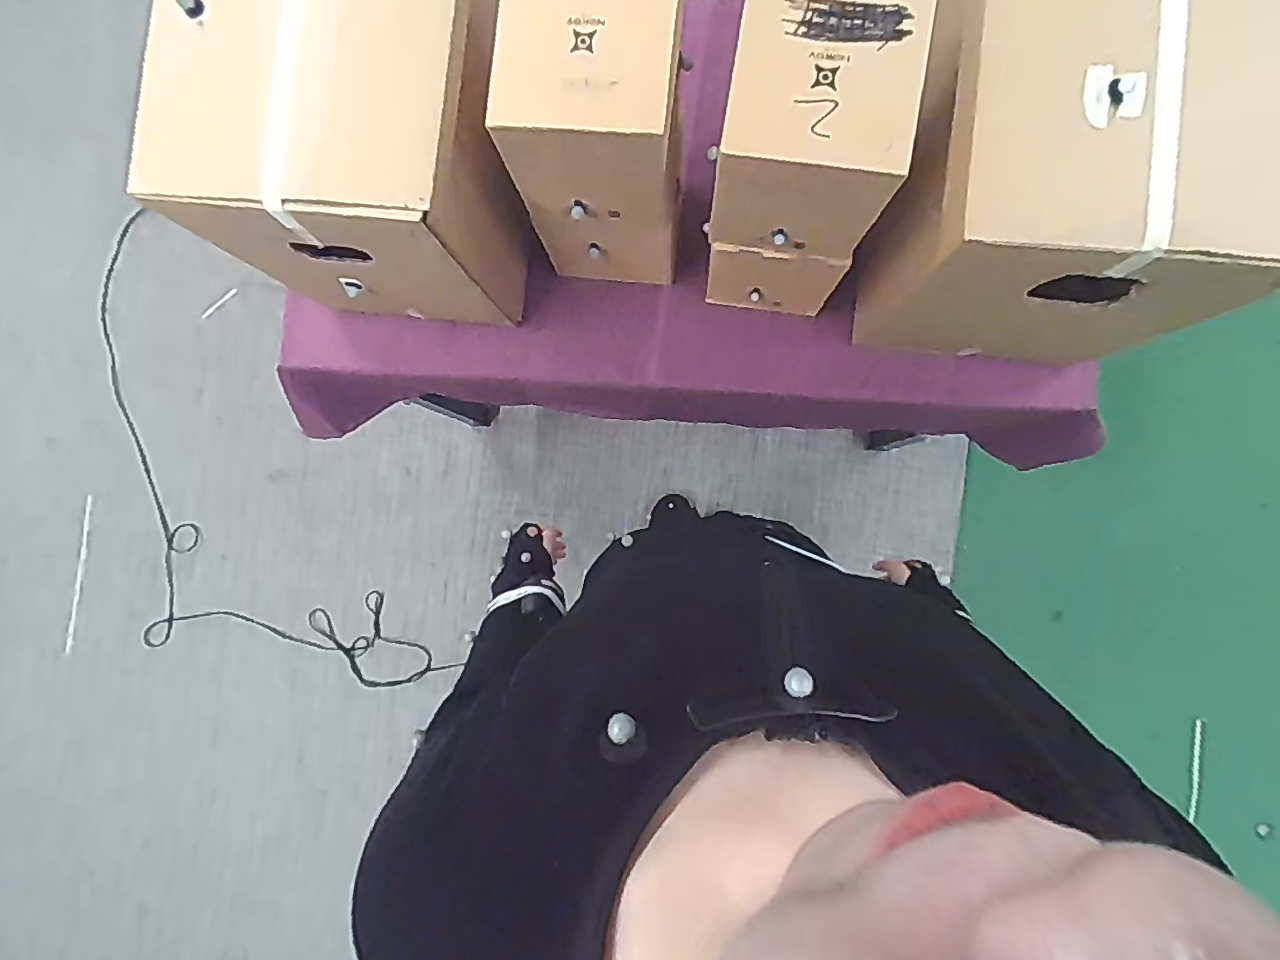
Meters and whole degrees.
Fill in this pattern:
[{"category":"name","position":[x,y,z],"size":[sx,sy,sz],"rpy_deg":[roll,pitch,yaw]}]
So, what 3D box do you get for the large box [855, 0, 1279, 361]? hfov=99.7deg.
[{"category":"large box","position":[0.475,-0.389,0.641],"size":[0.320,0.320,0.408],"rpy_deg":[7,88,4]}]
